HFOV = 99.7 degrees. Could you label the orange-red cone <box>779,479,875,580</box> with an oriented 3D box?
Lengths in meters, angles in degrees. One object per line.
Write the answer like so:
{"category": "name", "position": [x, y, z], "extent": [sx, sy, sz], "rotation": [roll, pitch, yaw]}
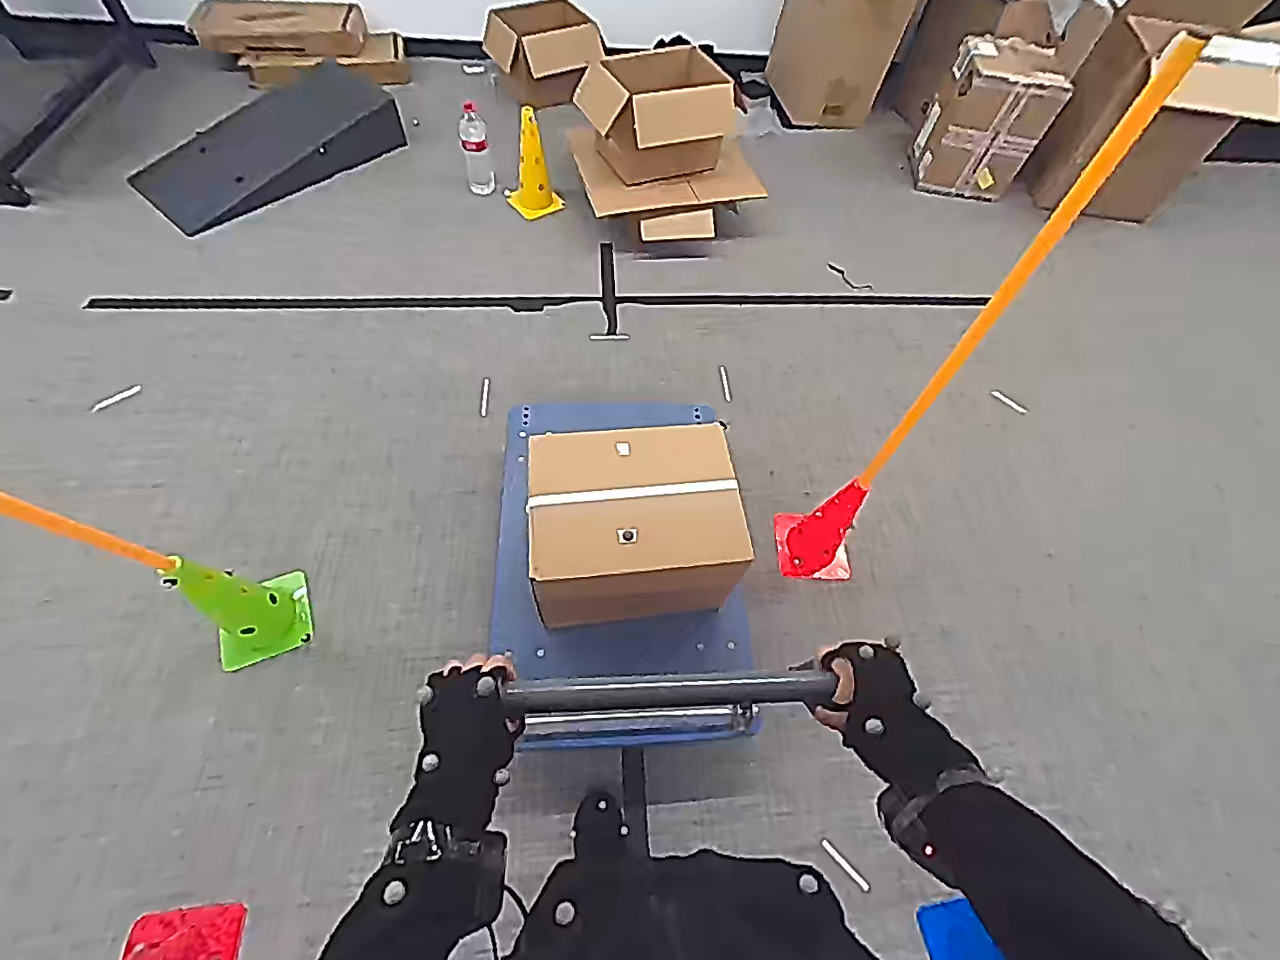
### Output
{"category": "orange-red cone", "position": [0.513, 0.101, 1.399], "extent": [0.199, 0.360, 0.198], "rotation": [4, 59, -3]}

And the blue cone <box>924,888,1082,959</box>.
{"category": "blue cone", "position": [0.706, 0.877, 0.962], "extent": [0.193, 0.380, 0.192], "rotation": [-5, 58, -8]}
